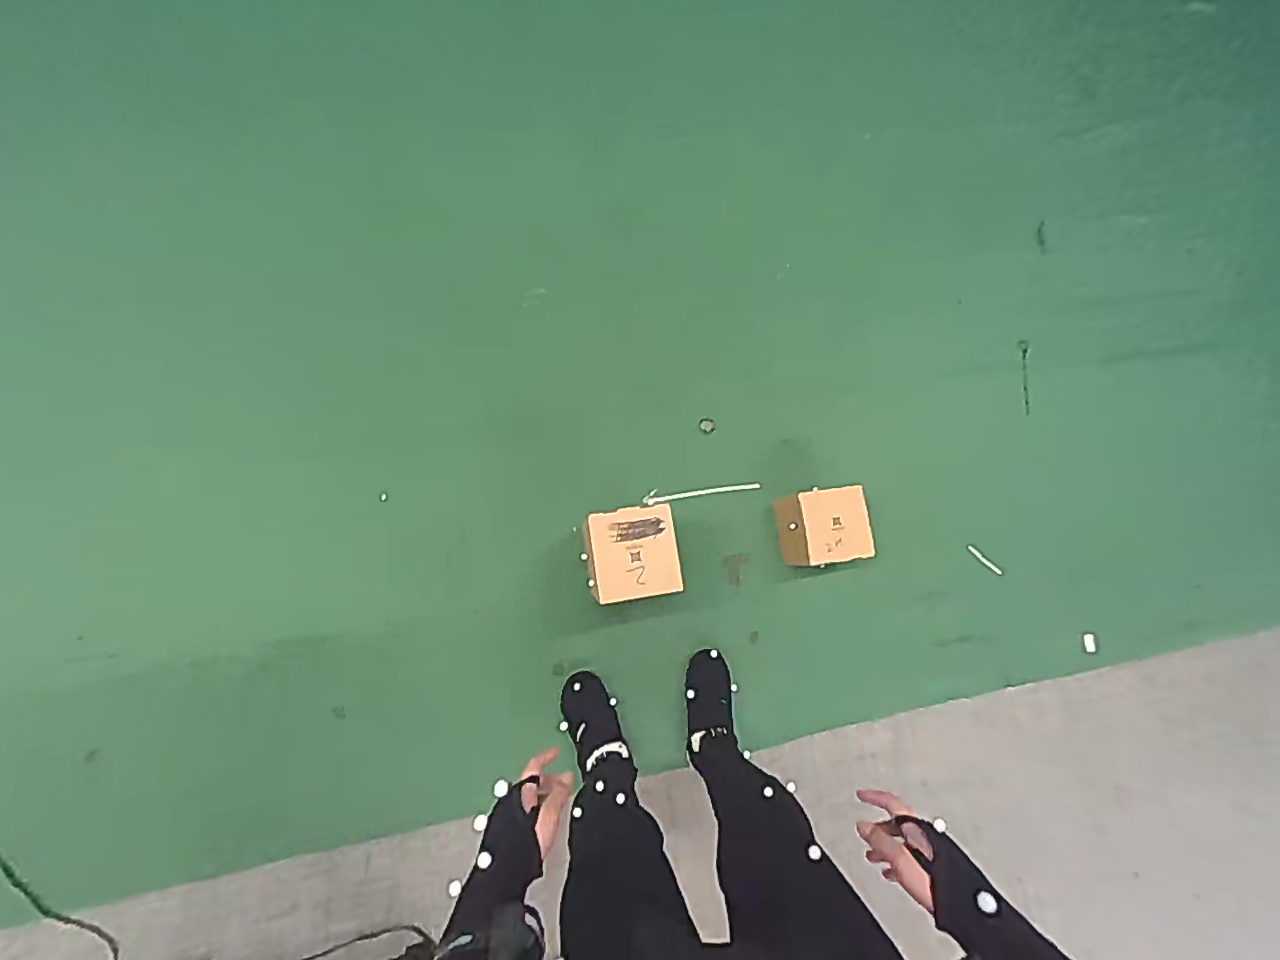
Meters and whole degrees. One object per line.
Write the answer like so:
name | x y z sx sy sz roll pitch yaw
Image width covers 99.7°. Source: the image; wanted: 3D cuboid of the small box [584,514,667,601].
small box | -0.040 0.182 1.280 0.168 0.176 0.179 -7 81 -9

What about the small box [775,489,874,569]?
small box | 0.454 0.127 1.359 0.168 0.176 0.179 -6 82 -9
